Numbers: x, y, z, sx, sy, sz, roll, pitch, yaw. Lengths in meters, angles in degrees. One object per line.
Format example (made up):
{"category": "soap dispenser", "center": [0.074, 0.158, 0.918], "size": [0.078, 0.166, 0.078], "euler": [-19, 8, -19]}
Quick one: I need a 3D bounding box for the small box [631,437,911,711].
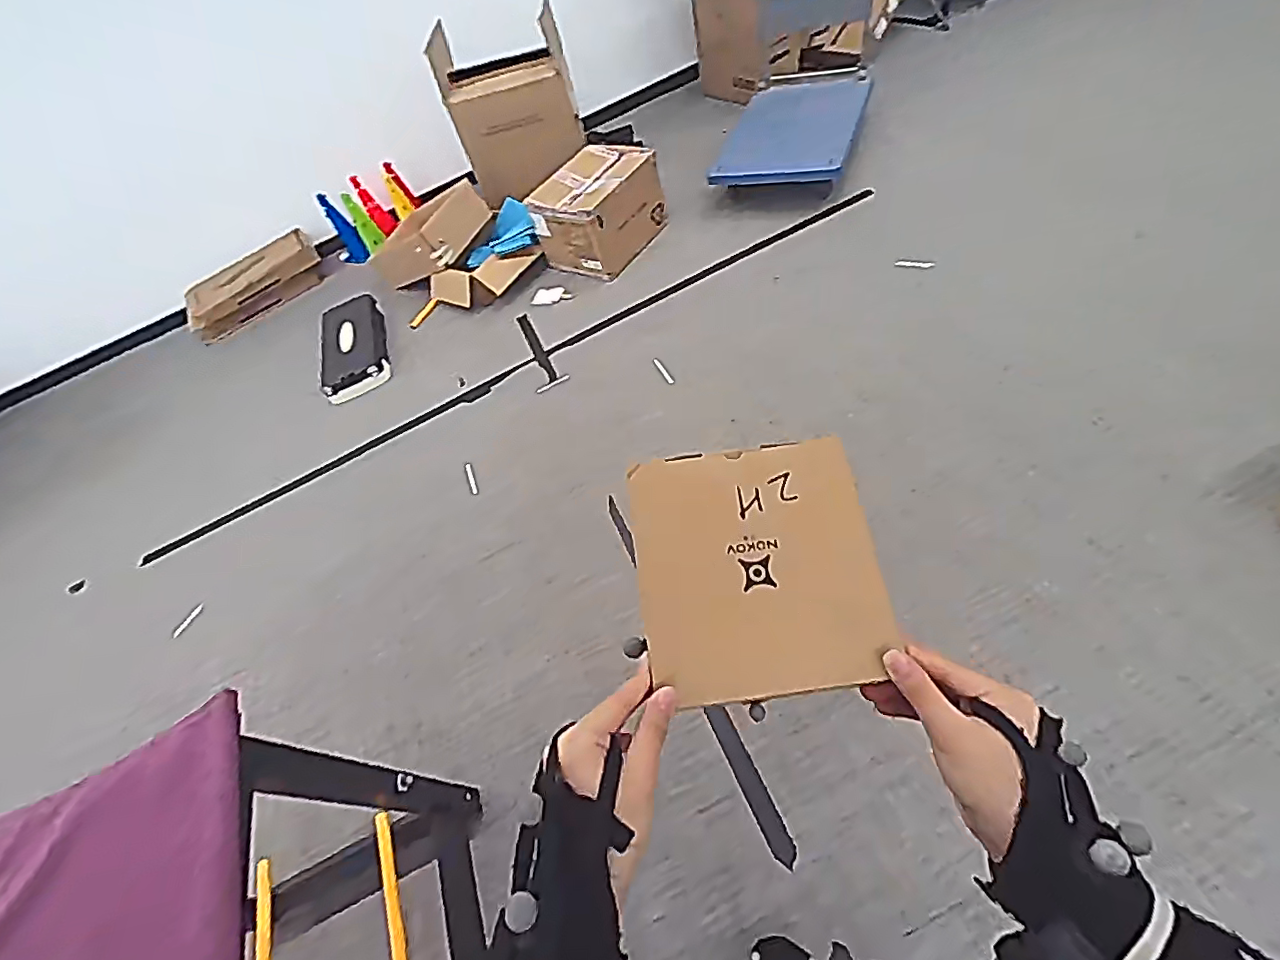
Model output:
{"category": "small box", "center": [0.087, 0.087, 0.447], "size": [0.168, 0.176, 0.179], "euler": [-7, 66, -1]}
